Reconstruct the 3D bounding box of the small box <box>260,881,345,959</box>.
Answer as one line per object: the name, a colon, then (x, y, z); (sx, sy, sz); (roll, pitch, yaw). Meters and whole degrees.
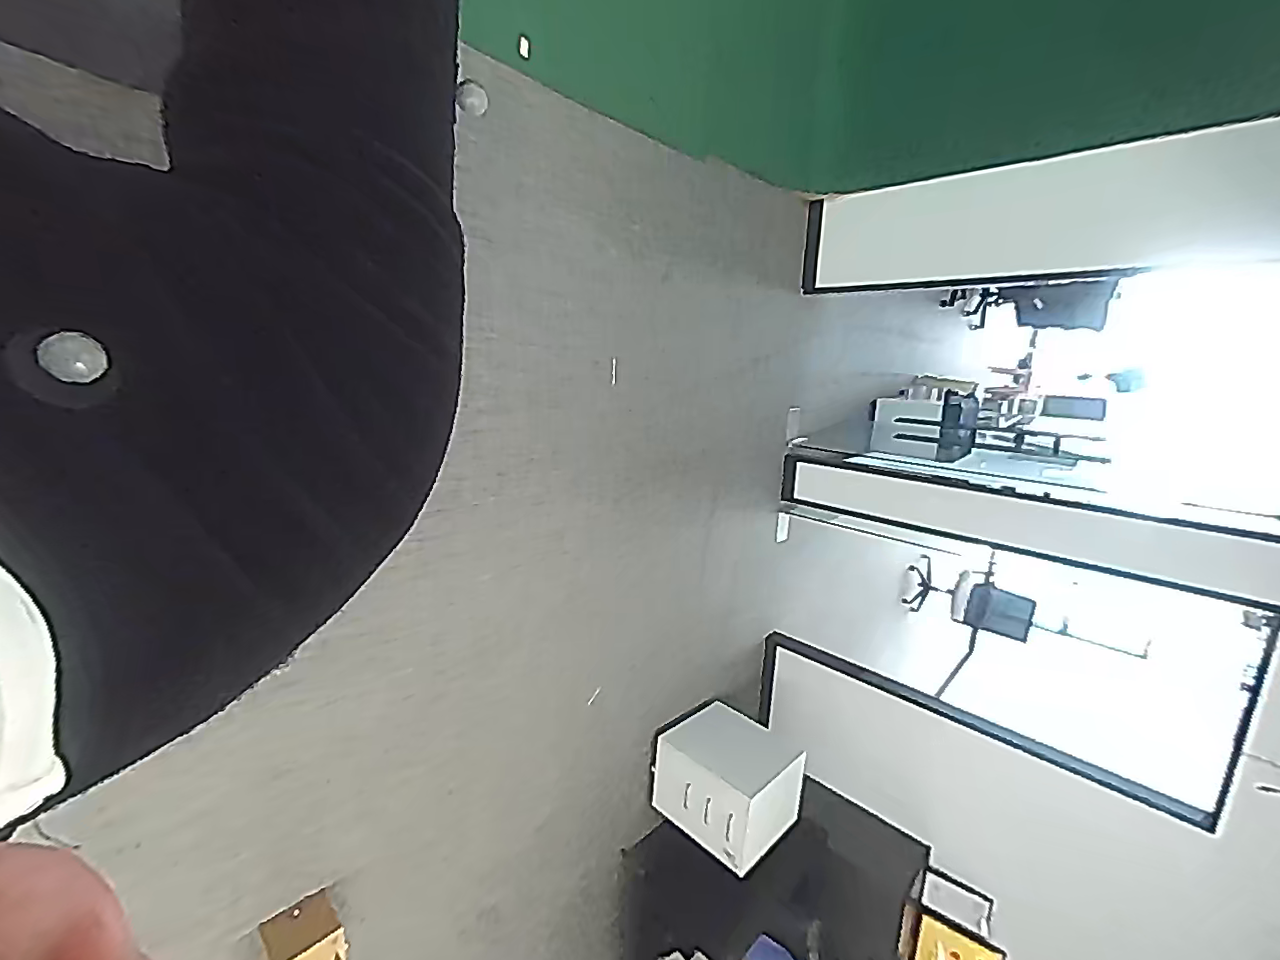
small box: (-0.981, 1.331, 1.566); (0.179, 0.176, 0.168); (-9, 108, -46)
